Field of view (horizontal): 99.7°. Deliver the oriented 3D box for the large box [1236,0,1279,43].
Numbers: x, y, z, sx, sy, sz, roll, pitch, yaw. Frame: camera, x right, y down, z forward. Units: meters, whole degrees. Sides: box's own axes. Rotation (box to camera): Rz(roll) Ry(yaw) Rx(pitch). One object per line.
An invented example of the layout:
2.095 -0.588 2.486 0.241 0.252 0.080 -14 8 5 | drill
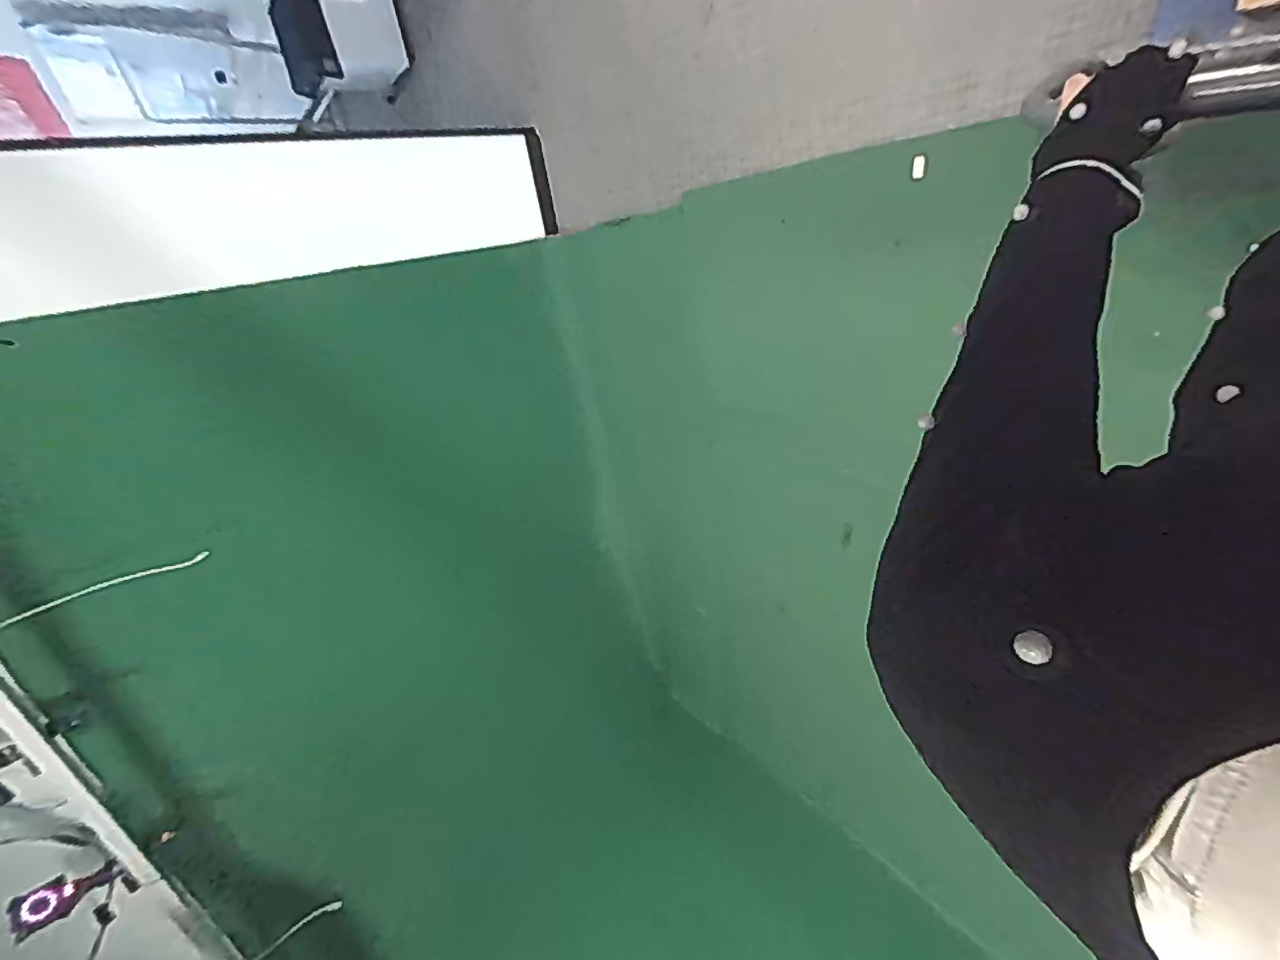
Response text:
0.959 -0.767 0.579 0.320 0.320 0.408 26 131 45 | large box
